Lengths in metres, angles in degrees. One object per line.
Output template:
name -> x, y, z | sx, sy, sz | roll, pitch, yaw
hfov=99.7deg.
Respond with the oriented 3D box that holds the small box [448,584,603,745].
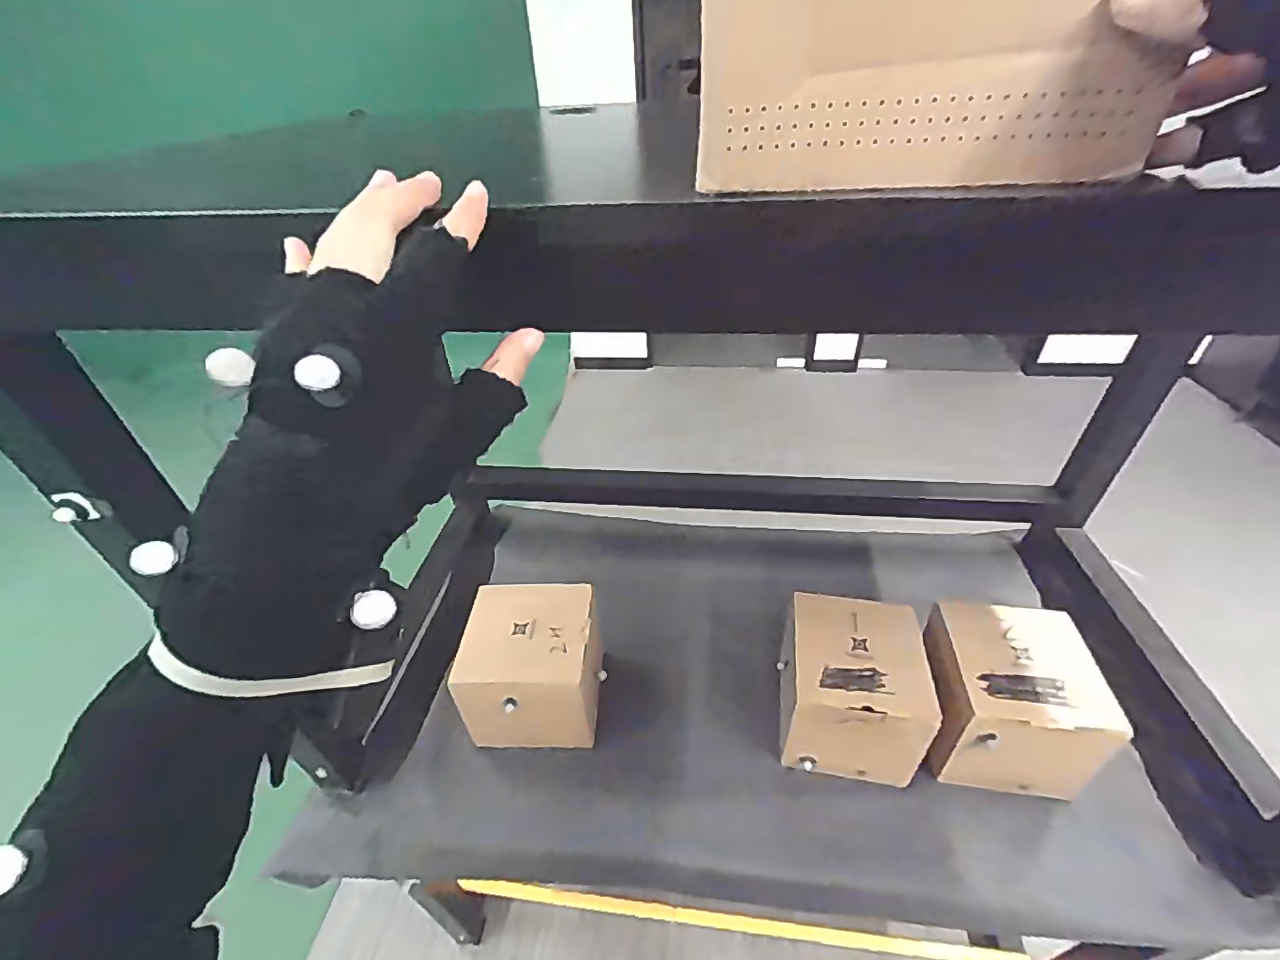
small box -> -0.155, 0.273, 0.803 | 0.179, 0.176, 0.168 | 0, 38, 3
